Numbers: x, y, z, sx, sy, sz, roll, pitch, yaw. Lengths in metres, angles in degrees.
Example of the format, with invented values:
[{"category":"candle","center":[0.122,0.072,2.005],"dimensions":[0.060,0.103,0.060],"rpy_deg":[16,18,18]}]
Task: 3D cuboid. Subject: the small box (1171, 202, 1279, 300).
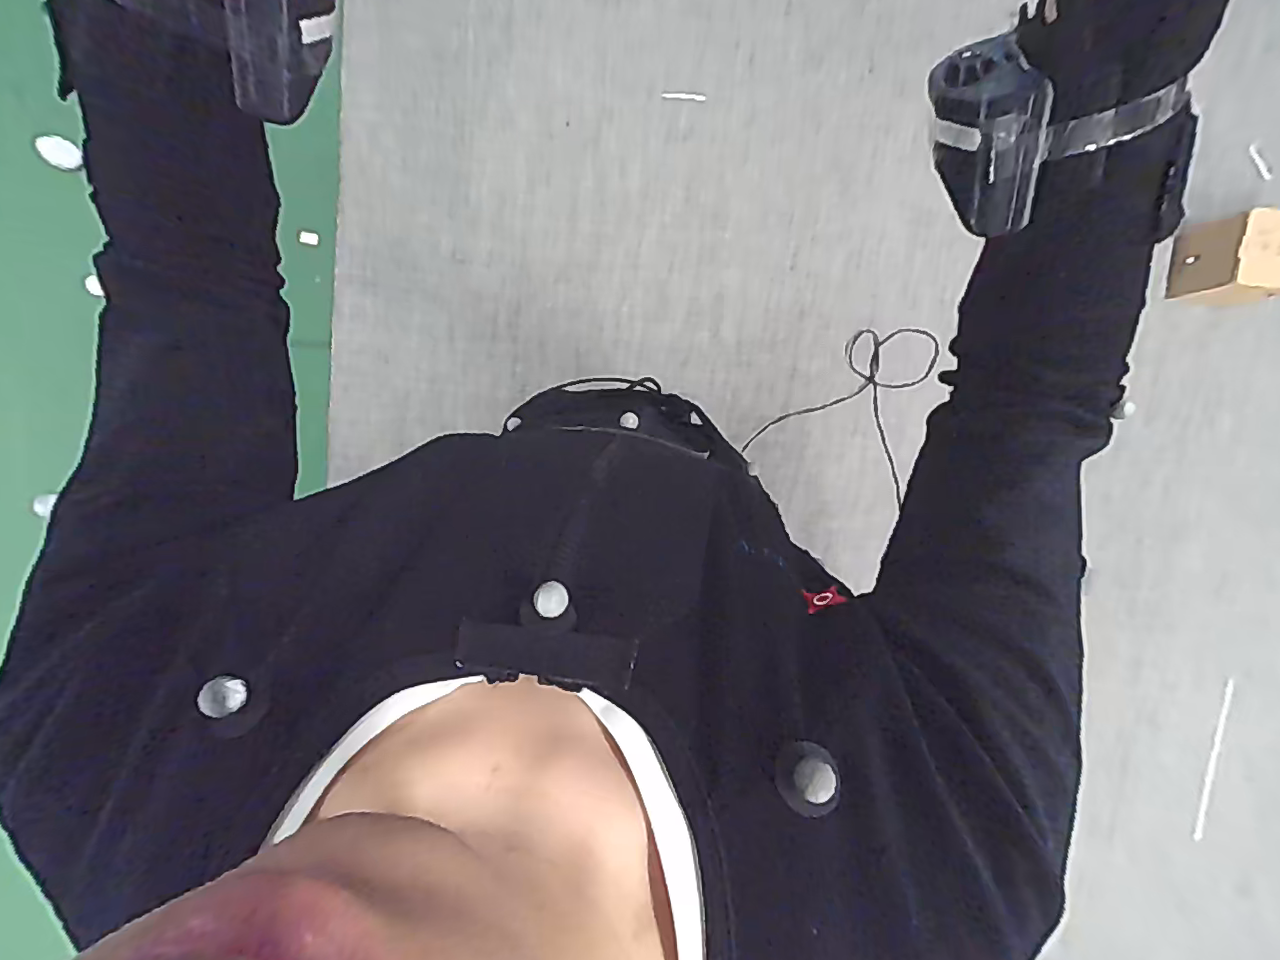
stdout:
[{"category":"small box","center":[1.417,-0.524,1.261],"dimensions":[0.179,0.176,0.168],"rpy_deg":[6,97,2]}]
